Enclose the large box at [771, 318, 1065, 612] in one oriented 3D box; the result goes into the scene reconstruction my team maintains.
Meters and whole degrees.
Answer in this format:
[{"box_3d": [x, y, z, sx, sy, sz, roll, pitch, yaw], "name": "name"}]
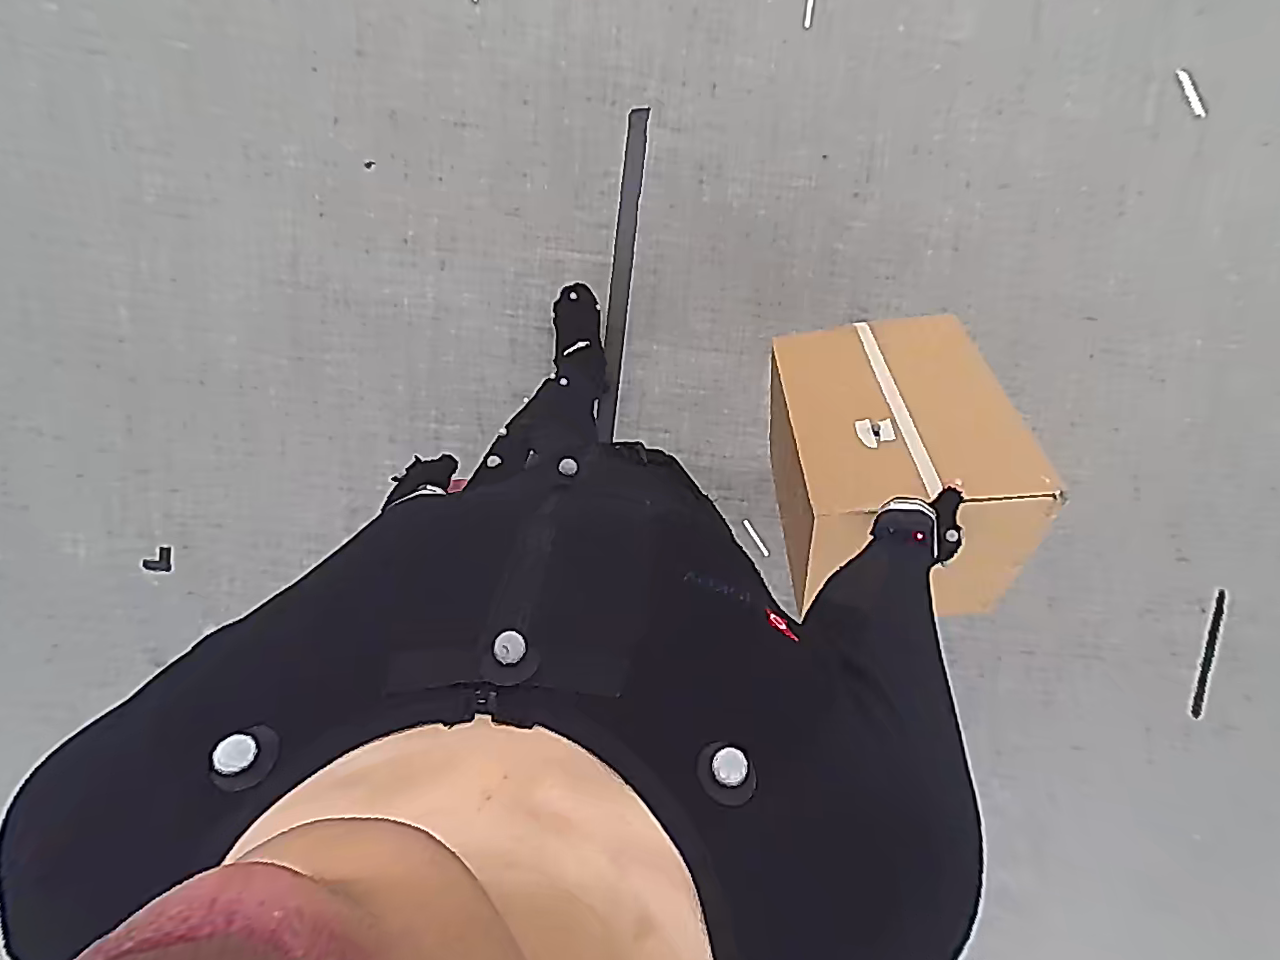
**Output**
[{"box_3d": [0.418, -0.024, 0.948, 0.320, 0.408, 0.320, -6, 141, 8], "name": "large box"}]
